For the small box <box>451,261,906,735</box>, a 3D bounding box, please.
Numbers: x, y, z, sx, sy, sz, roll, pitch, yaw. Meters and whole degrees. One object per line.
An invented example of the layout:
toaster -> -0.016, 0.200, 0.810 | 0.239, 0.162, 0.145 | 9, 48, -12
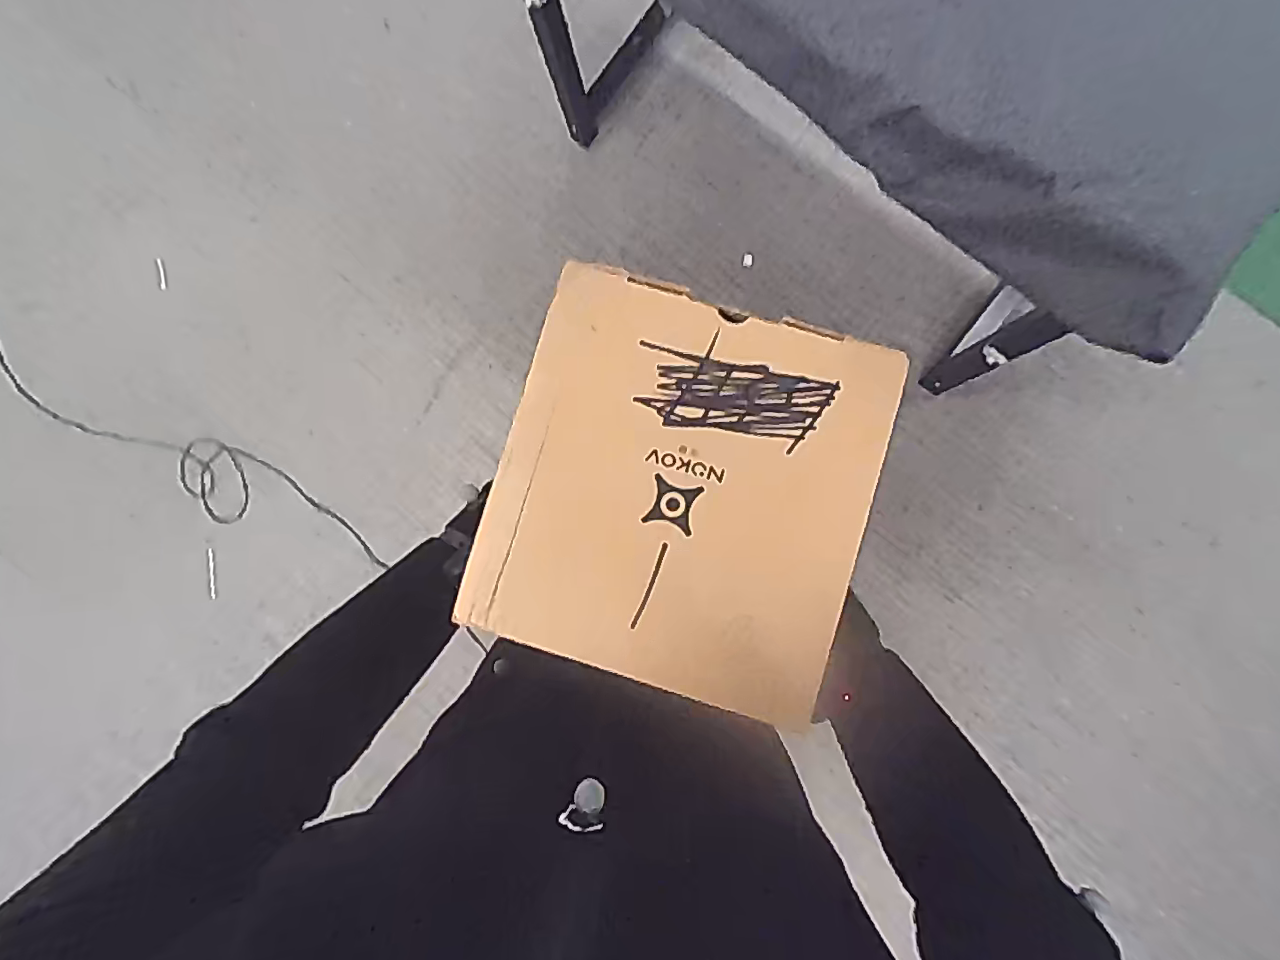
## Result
small box -> 0.020, 0.009, 0.319 | 0.168, 0.176, 0.179 | 17, 87, 4
